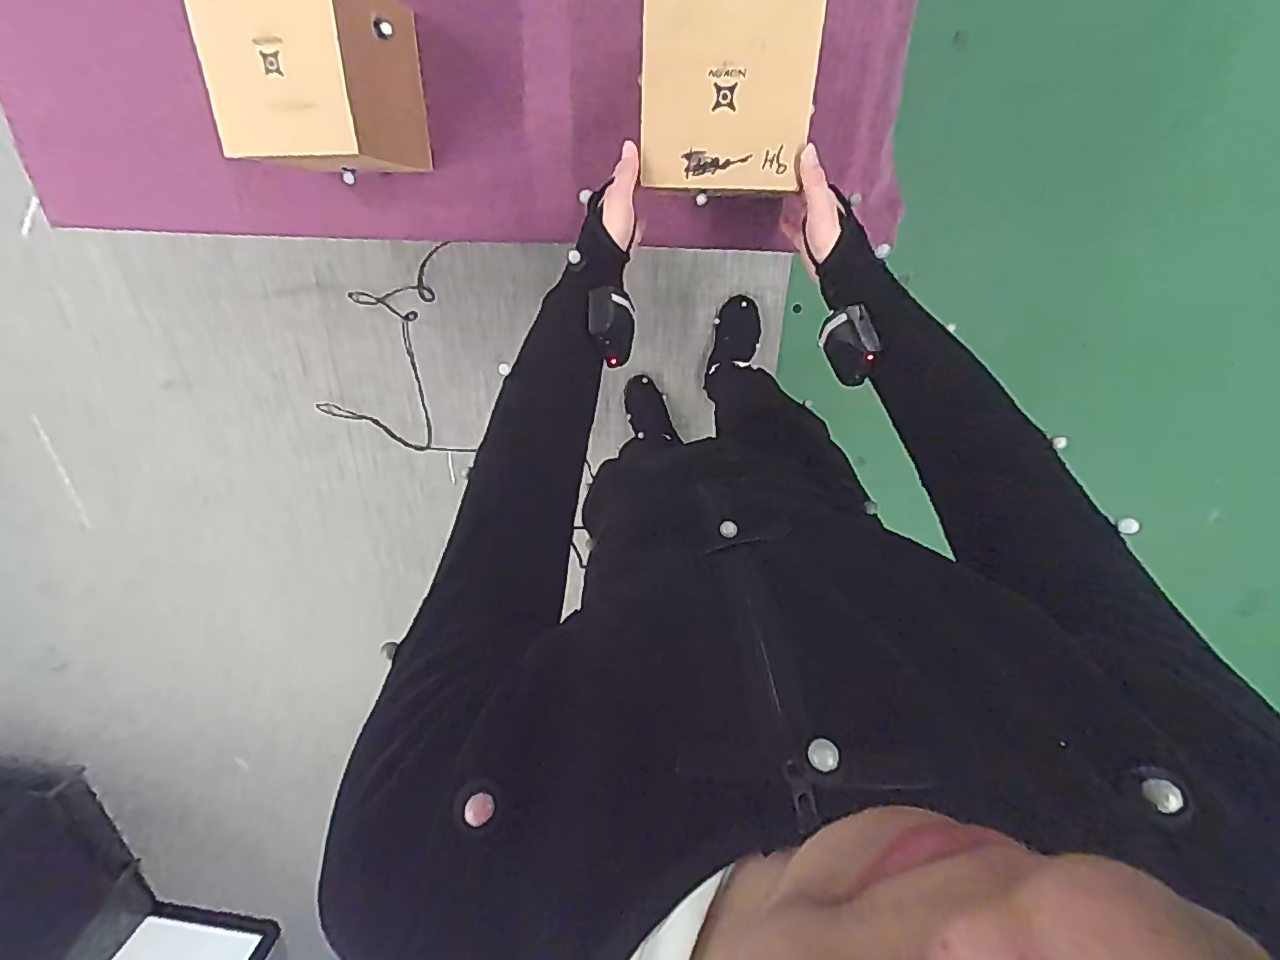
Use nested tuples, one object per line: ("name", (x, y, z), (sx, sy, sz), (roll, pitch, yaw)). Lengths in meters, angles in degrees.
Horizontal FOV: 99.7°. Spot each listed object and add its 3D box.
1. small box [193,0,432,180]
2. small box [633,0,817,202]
("small box", (-0.374, -0.471, 0.650), (0.168, 0.176, 0.179), (5, 115, 8))
("small box", (0.089, -0.411, 0.598), (0.168, 0.176, 0.179), (6, 118, 8))
